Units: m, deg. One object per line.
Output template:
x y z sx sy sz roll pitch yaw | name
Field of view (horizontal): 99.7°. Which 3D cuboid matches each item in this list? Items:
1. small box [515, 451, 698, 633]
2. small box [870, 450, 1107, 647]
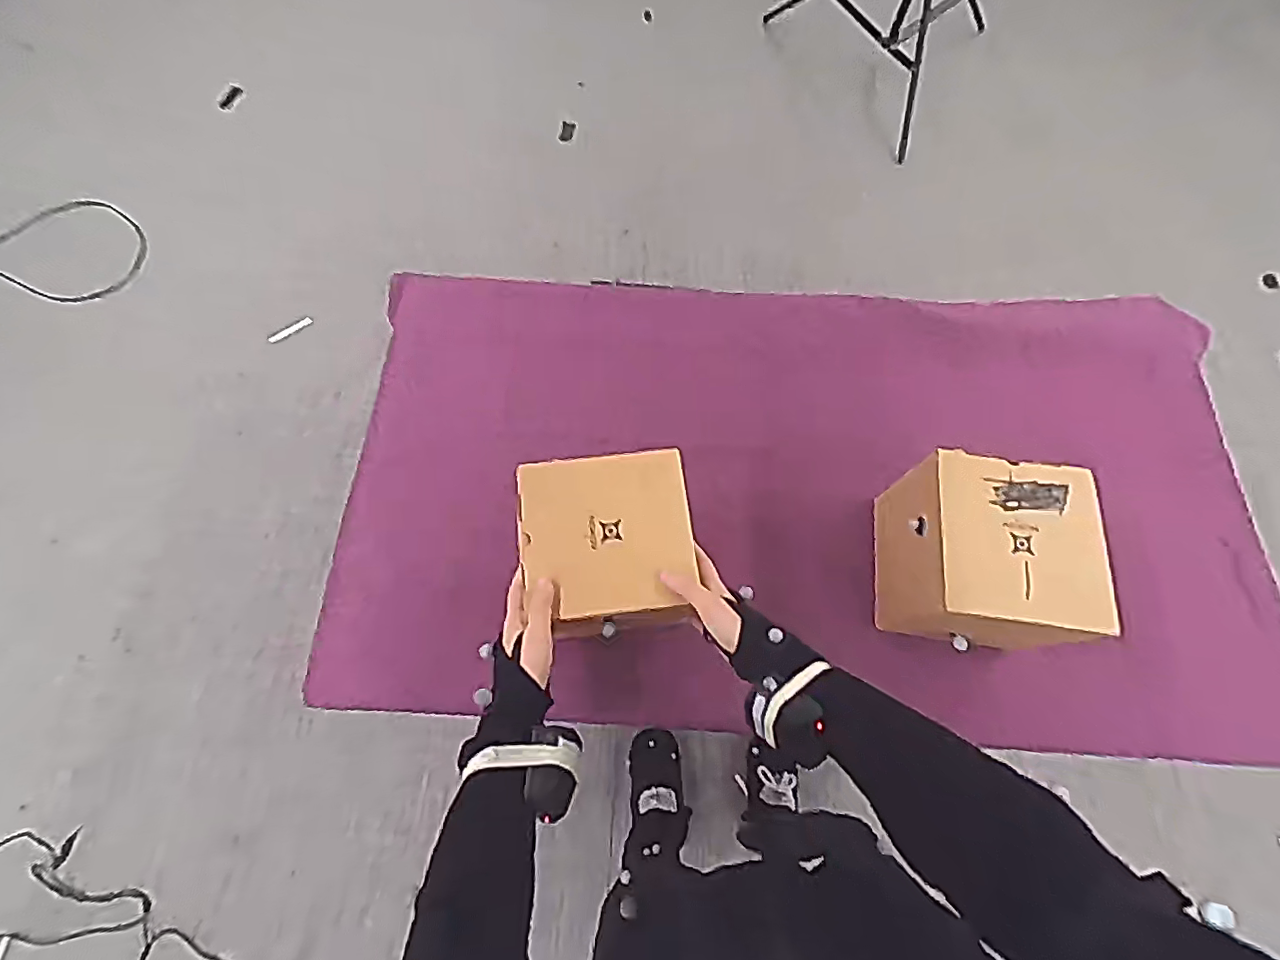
-0.039 0.079 0.625 0.179 0.176 0.168 -7 70 -3 | small box
0.380 0.087 0.627 0.168 0.176 0.179 8 69 3 | small box
